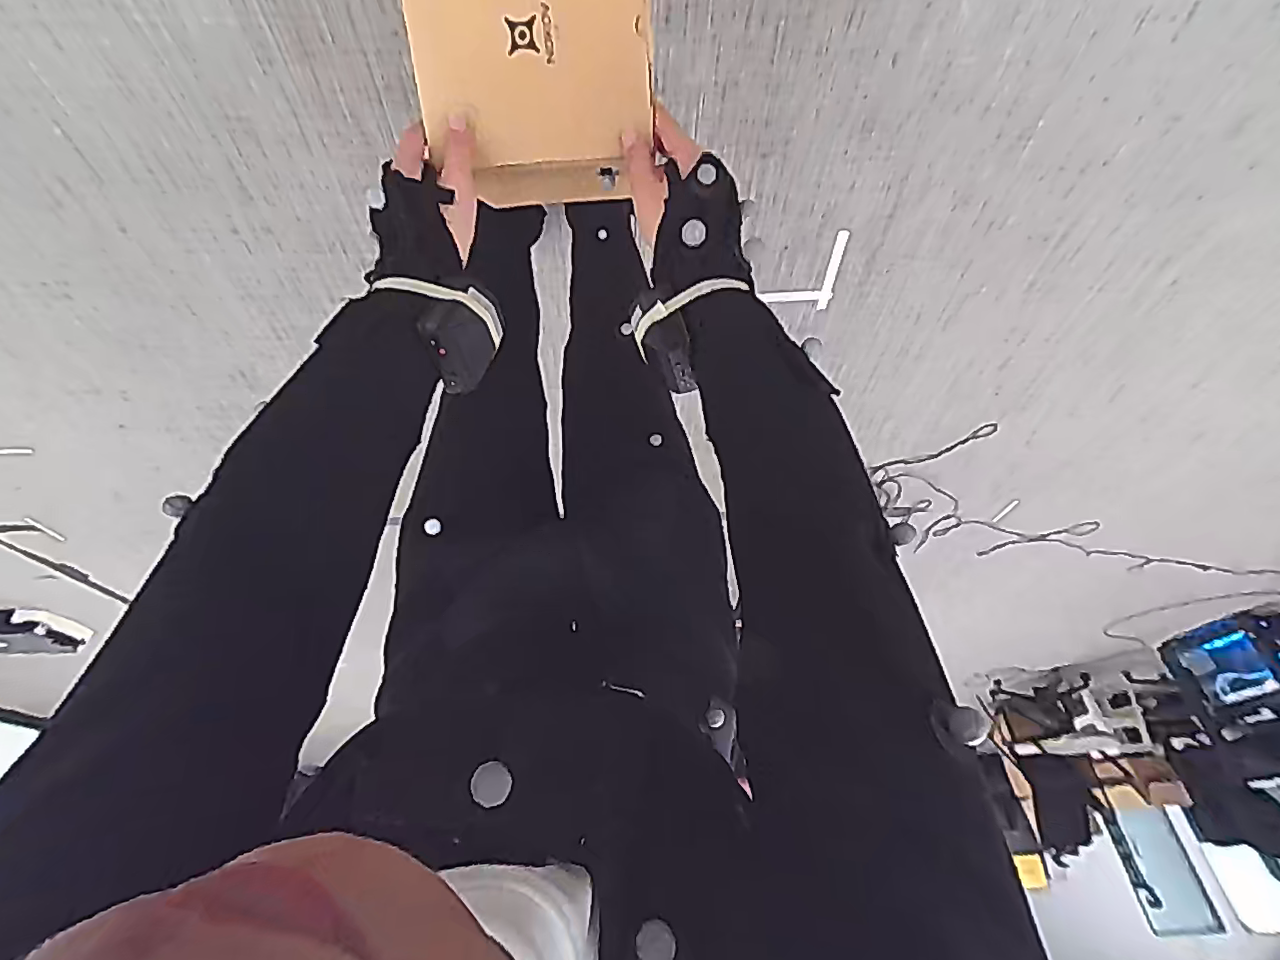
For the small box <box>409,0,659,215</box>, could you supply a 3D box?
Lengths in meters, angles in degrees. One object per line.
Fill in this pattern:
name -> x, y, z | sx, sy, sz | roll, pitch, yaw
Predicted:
small box -> -0.074, -0.335, 0.468 | 0.179, 0.176, 0.168 | -4, 108, 1
